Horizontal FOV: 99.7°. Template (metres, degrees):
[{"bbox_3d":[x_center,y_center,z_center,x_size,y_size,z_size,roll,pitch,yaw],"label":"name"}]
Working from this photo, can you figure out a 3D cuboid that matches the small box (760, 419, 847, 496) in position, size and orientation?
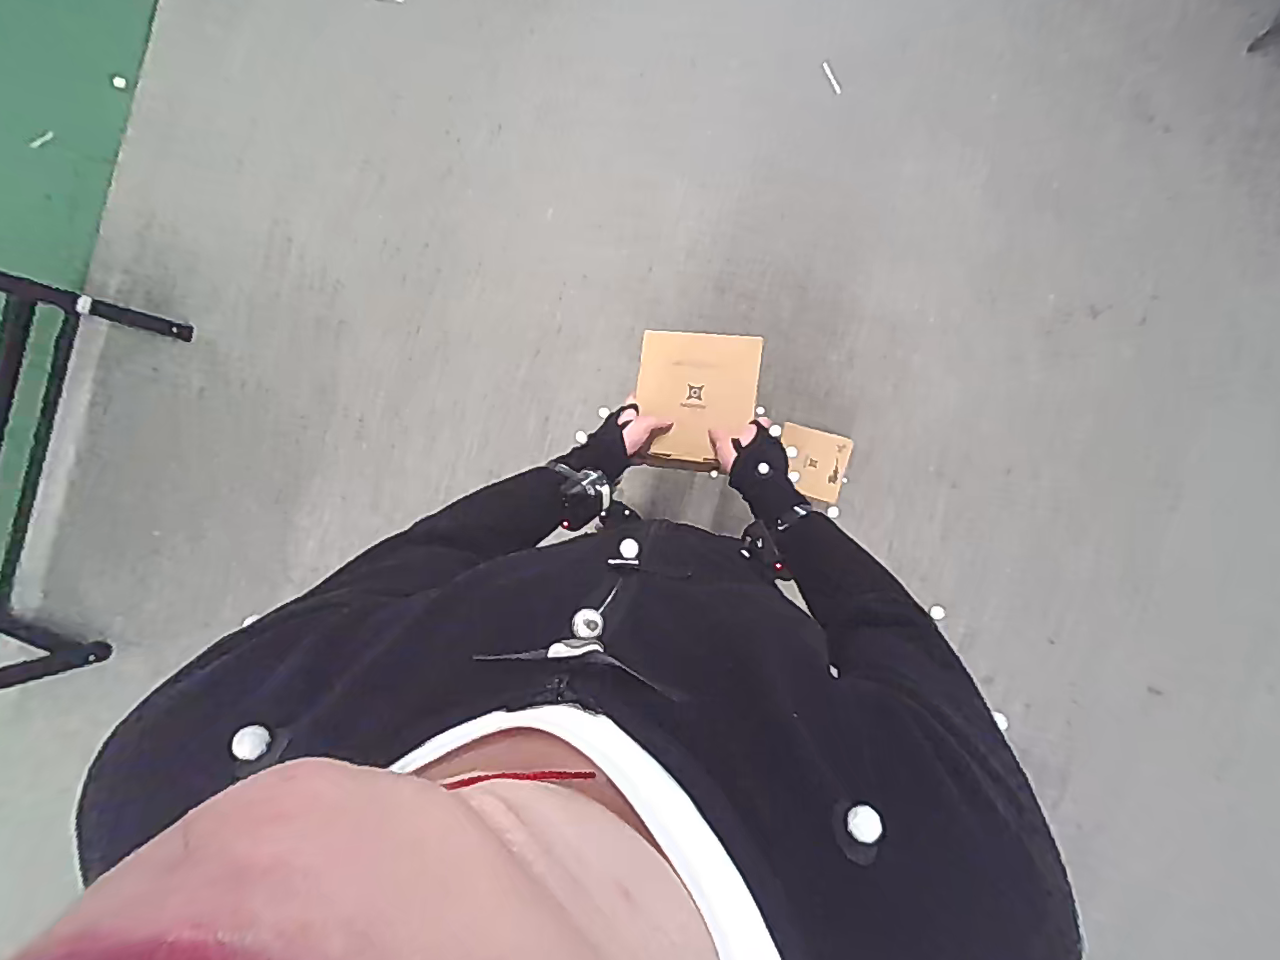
[{"bbox_3d":[0.430,-0.054,1.457,0.179,0.176,0.168,15,90,7],"label":"small box"}]

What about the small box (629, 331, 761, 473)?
[{"bbox_3d":[0.086,-0.109,0.821,0.168,0.176,0.179,6,86,8],"label":"small box"}]
